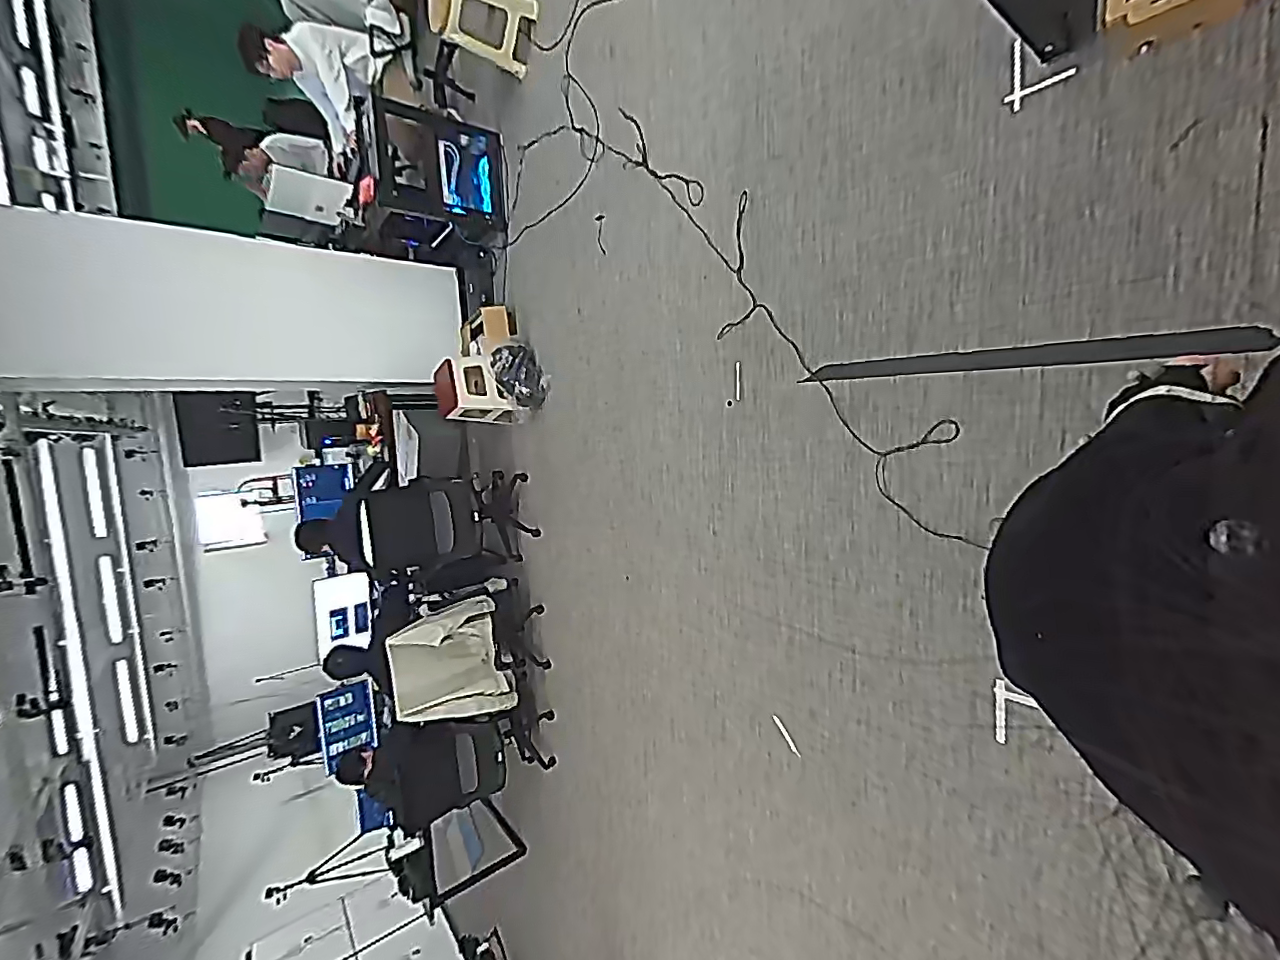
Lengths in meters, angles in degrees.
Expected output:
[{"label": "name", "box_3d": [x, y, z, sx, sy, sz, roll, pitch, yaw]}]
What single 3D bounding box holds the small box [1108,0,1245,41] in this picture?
[{"label": "small box", "box_3d": [0.976, -0.936, 0.970, 0.168, 0.176, 0.179, 8, 101, 52]}]
